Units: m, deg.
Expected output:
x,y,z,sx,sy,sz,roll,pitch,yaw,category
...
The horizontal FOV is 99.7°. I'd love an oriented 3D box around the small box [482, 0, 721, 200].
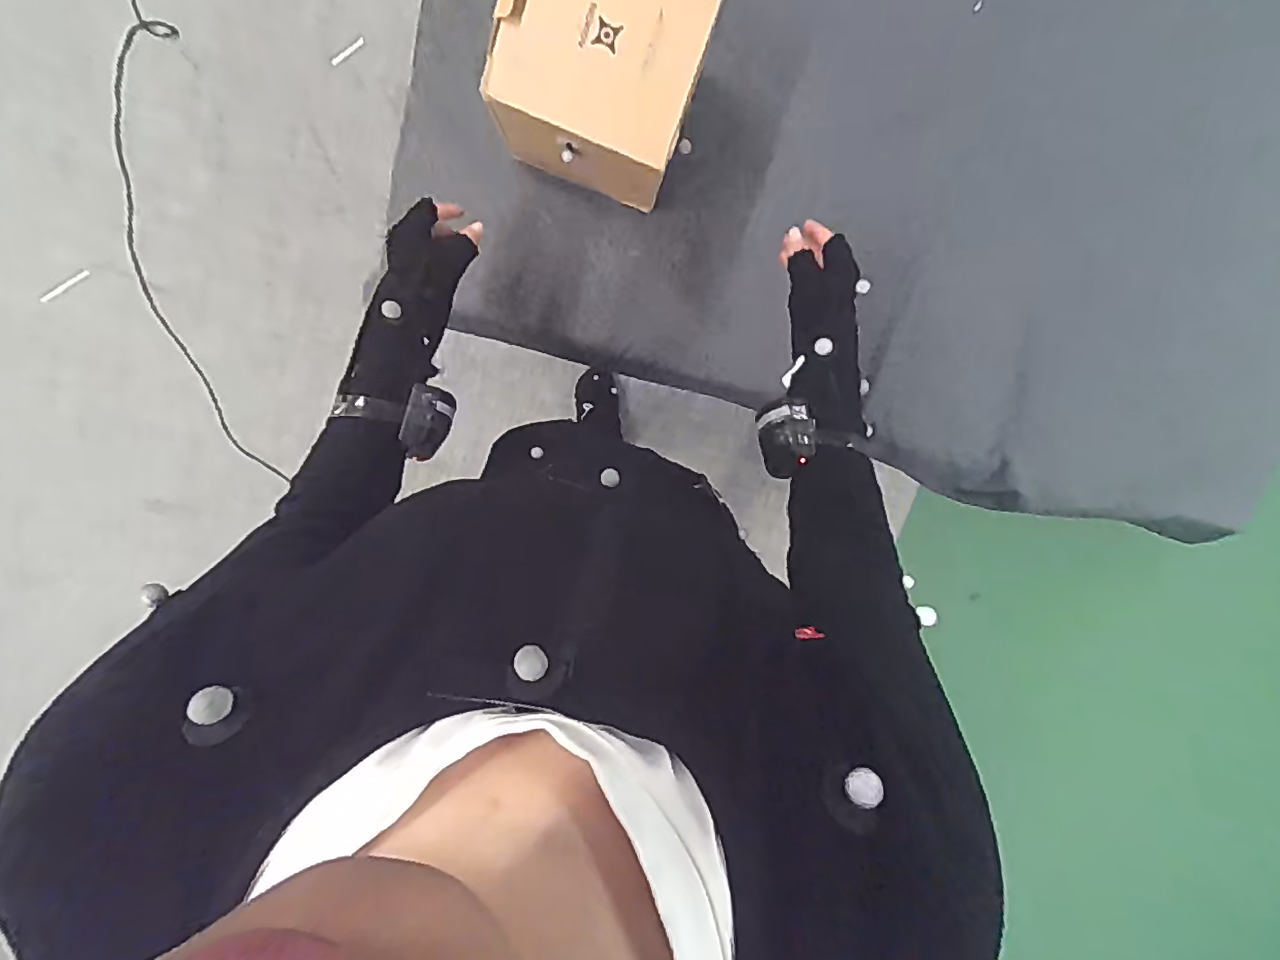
x,y,z,sx,sy,sz,roll,pitch,yaw,category
-0.036,-0.410,0.546,0.179,0.176,0.168,18,103,-8,small box
